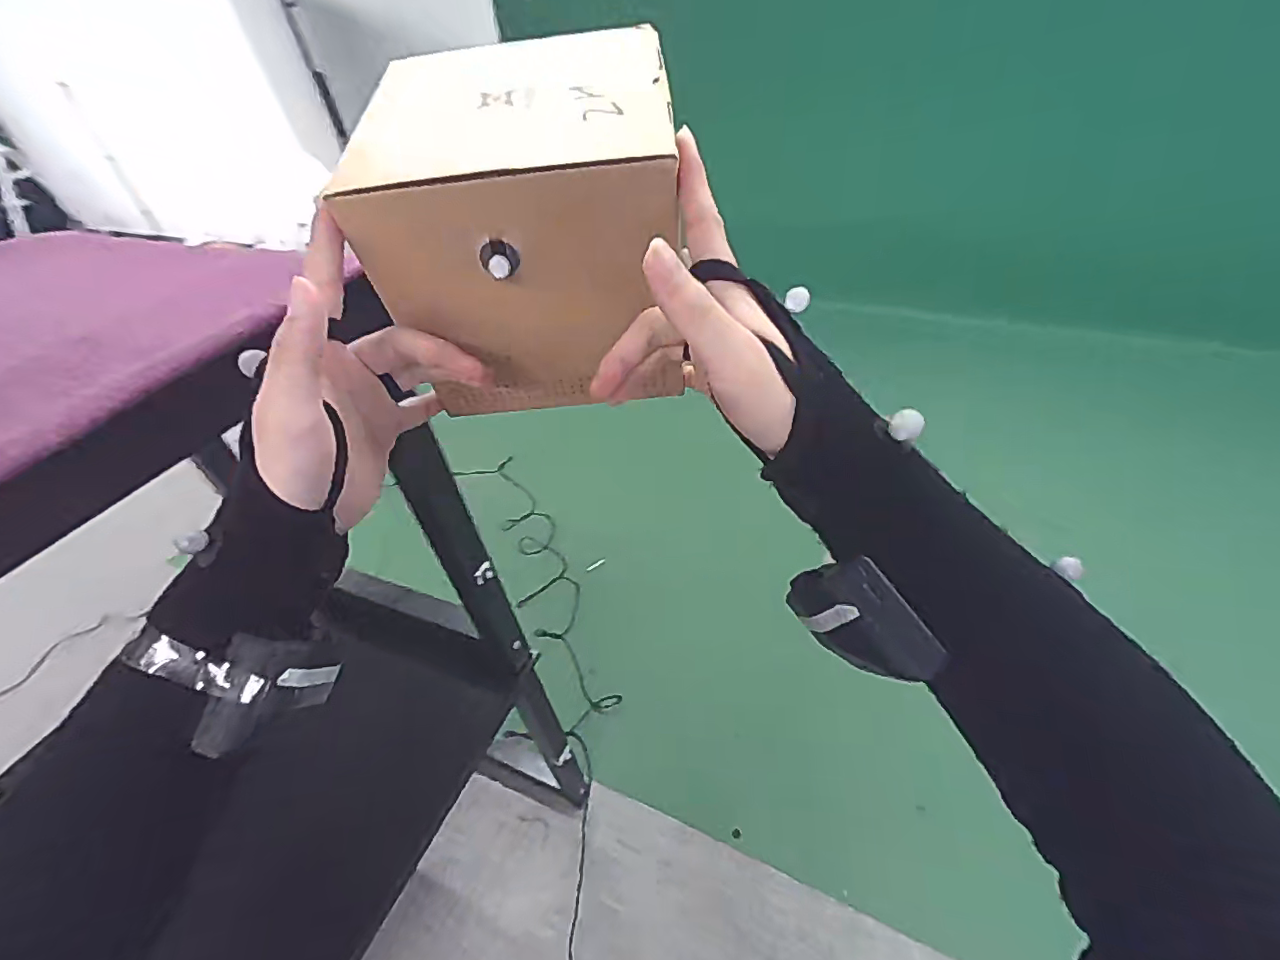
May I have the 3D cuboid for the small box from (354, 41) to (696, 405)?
[{"bbox_3d":[-0.054,-0.167,0.378,0.179,0.176,0.168,-4,56,2],"label":"small box"}]
